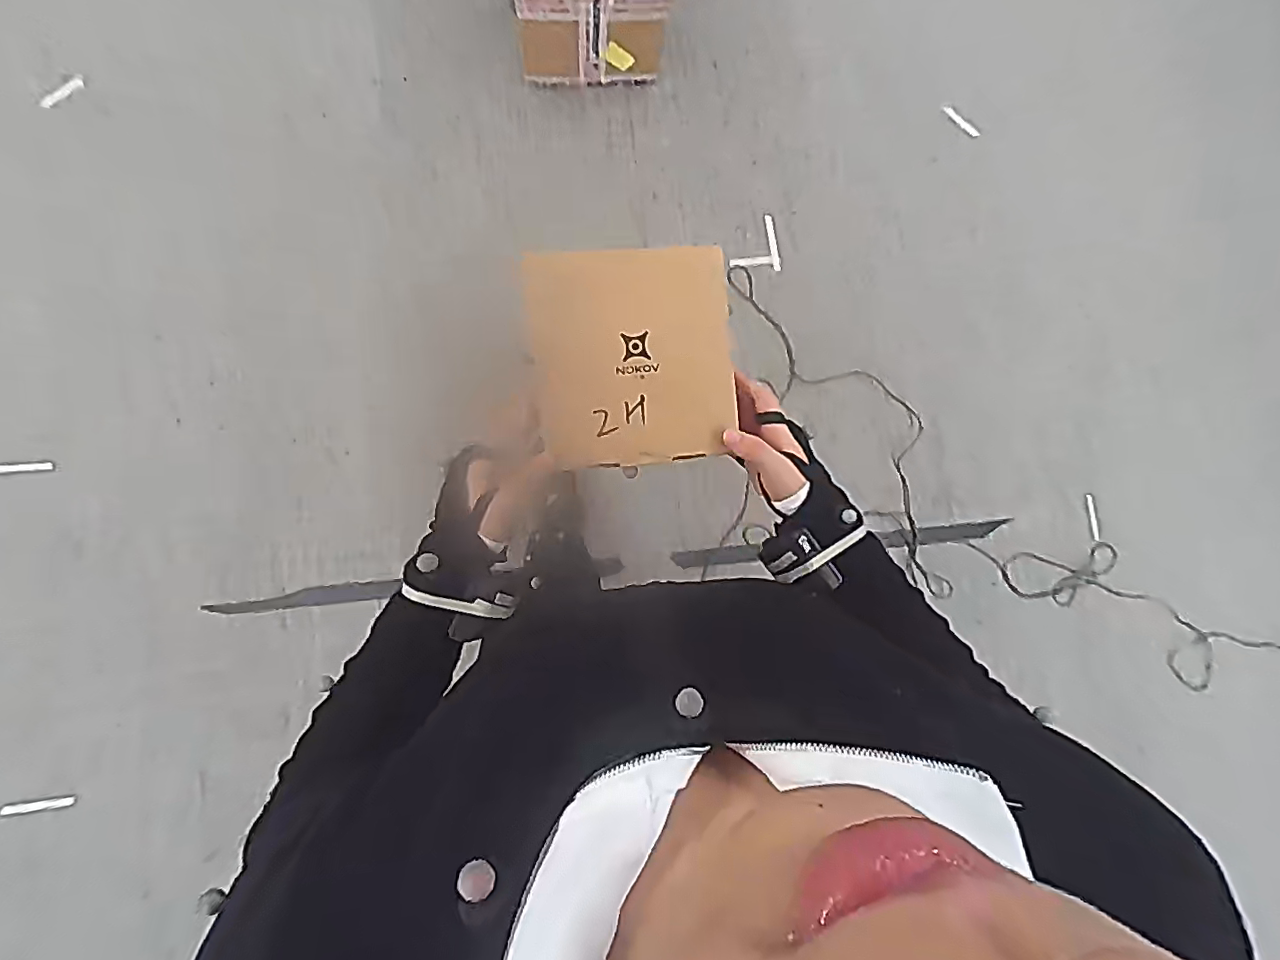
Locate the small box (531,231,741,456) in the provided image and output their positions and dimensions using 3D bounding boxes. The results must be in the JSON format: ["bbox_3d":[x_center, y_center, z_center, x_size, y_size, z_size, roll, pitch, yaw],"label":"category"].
[{"bbox_3d":[-0.012,-0.118,0.525,0.168,0.176,0.179,-6,93,-7],"label":"small box"}]
